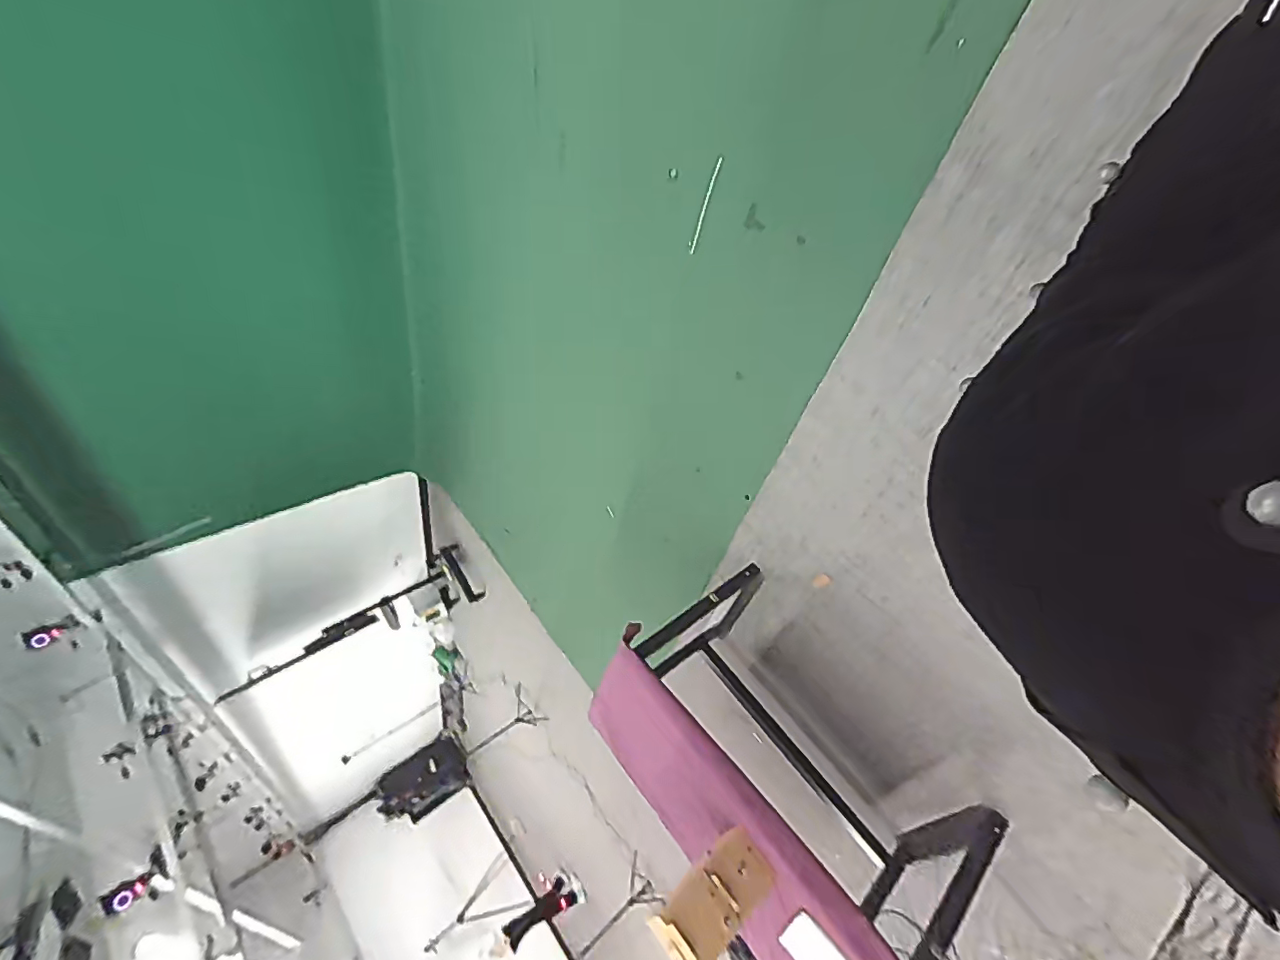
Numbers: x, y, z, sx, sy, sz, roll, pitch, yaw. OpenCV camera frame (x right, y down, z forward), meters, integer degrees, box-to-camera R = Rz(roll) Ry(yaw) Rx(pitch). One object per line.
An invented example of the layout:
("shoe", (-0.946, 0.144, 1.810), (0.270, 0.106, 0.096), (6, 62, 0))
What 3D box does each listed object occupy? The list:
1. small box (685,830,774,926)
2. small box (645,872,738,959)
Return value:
("small box", (0.267, 1.174, 1.594), (0.168, 0.176, 0.179), (47, 140, 25))
("small box", (0.145, 1.225, 1.495), (0.168, 0.176, 0.179), (47, 142, 24))
